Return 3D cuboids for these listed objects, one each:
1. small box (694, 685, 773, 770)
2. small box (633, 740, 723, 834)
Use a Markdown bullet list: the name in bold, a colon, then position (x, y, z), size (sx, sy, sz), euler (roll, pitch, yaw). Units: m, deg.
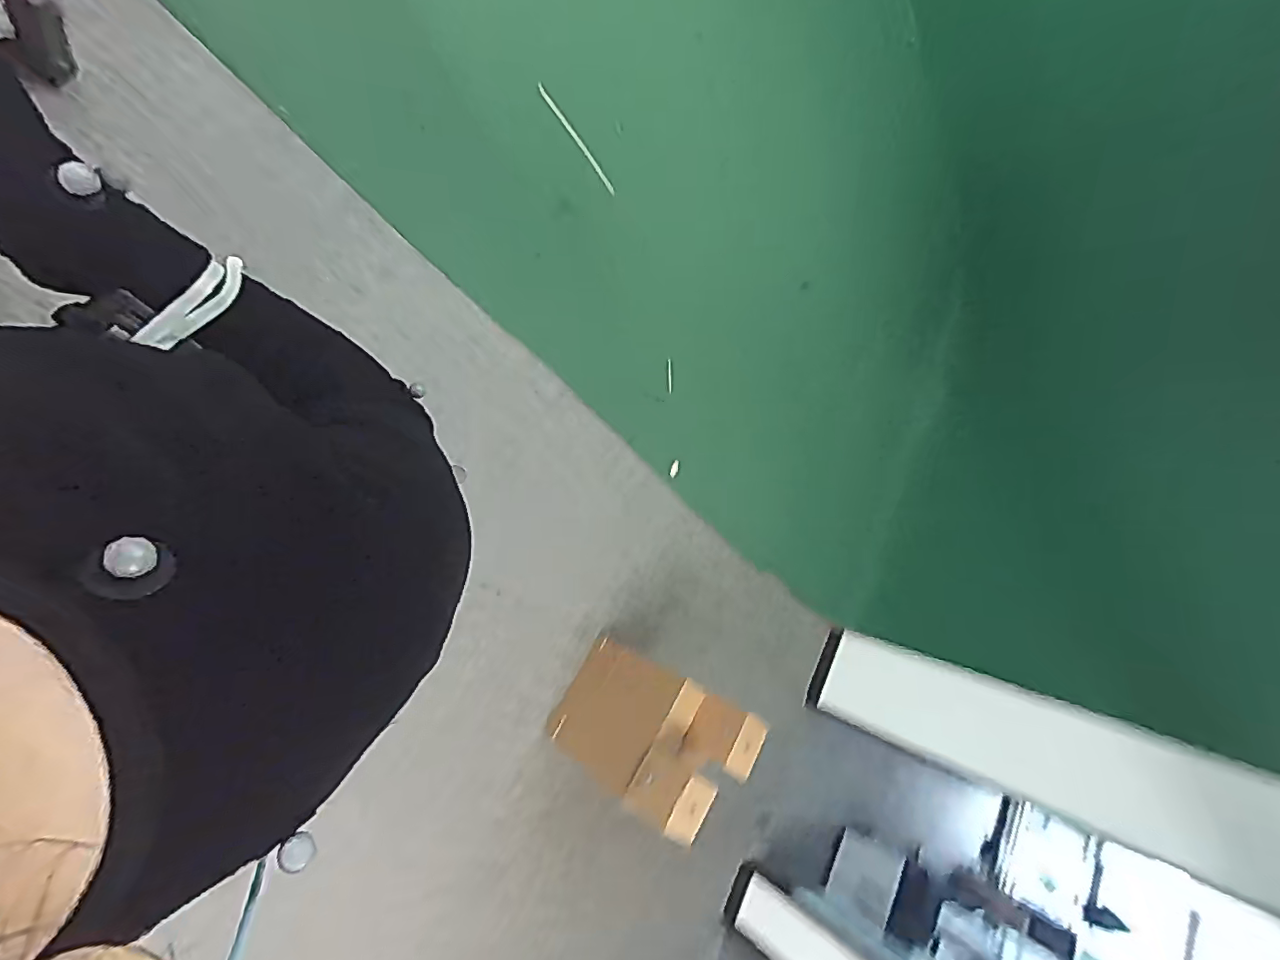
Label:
- **small box**: position (0.300, 0.805, 1.766), size (0.168, 0.176, 0.179), euler (47, 66, -38)
- **small box**: position (0.113, 0.910, 1.614), size (0.168, 0.176, 0.179), euler (-56, 130, -19)
